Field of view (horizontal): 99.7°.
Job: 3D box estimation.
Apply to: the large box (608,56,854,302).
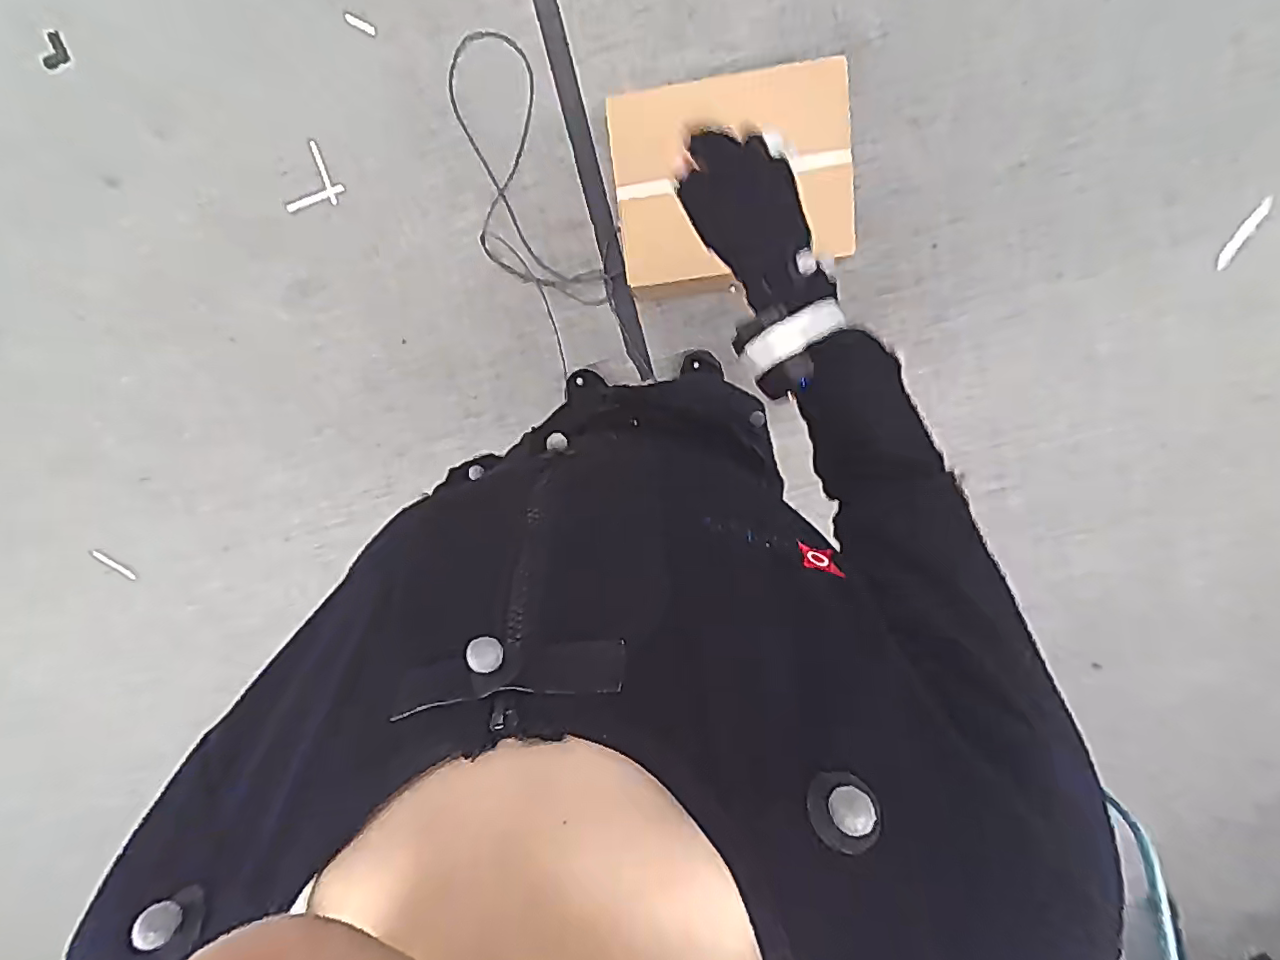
[{"bbox_3d":[0.169,-0.559,1.086,0.408,0.320,0.320,-7,103,5],"label":"large box"}]
